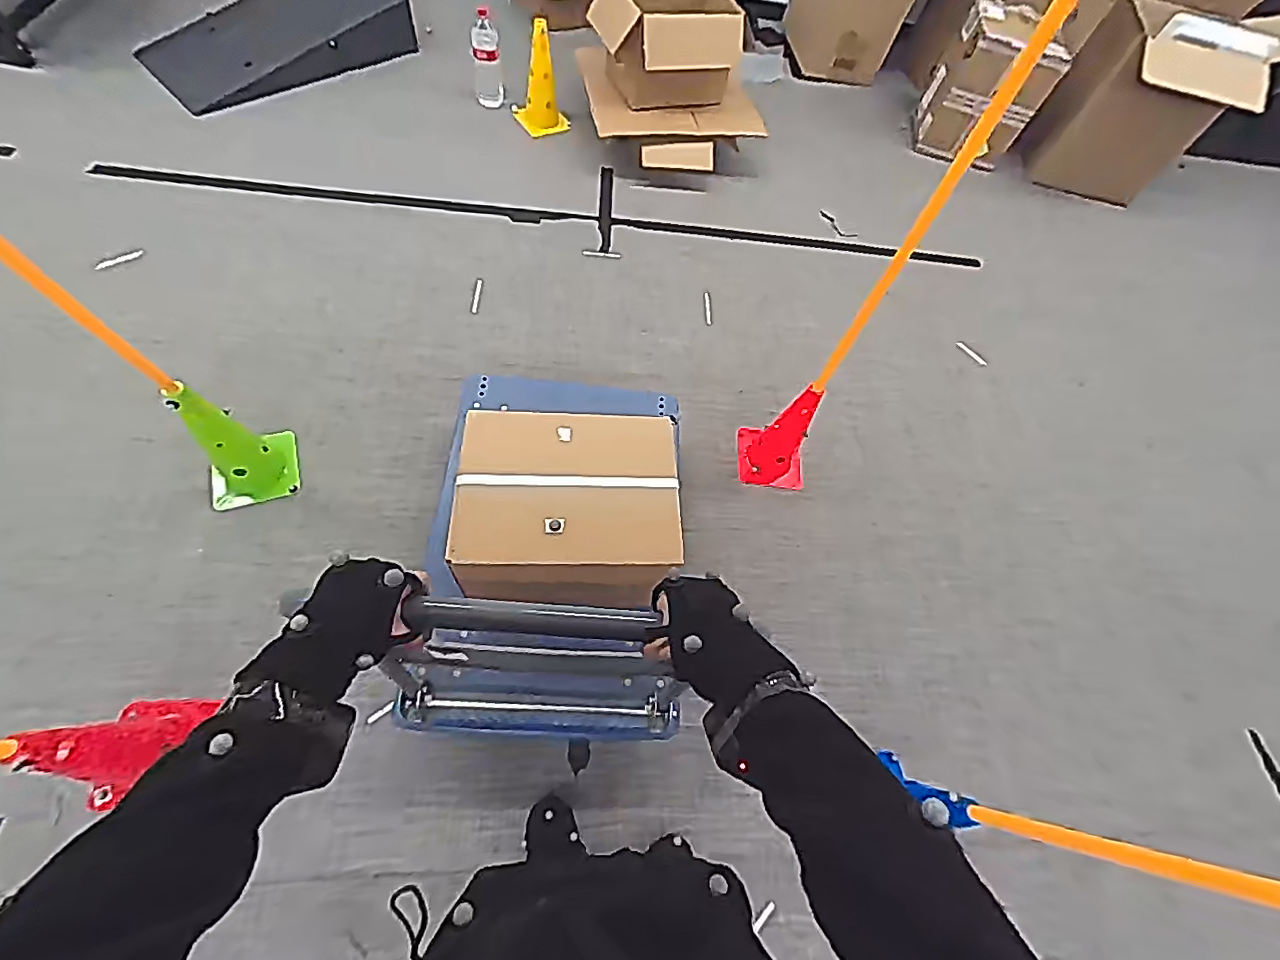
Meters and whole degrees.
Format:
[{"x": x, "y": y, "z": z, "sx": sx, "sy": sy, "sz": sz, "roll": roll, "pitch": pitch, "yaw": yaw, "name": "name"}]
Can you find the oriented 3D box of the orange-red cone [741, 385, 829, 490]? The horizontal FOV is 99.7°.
[{"x": 0.435, "y": -0.146, "z": 1.511, "sx": 0.199, "sy": 0.360, "sz": 0.198, "roll": 10, "pitch": 62, "yaw": -5, "name": "orange-red cone"}]
